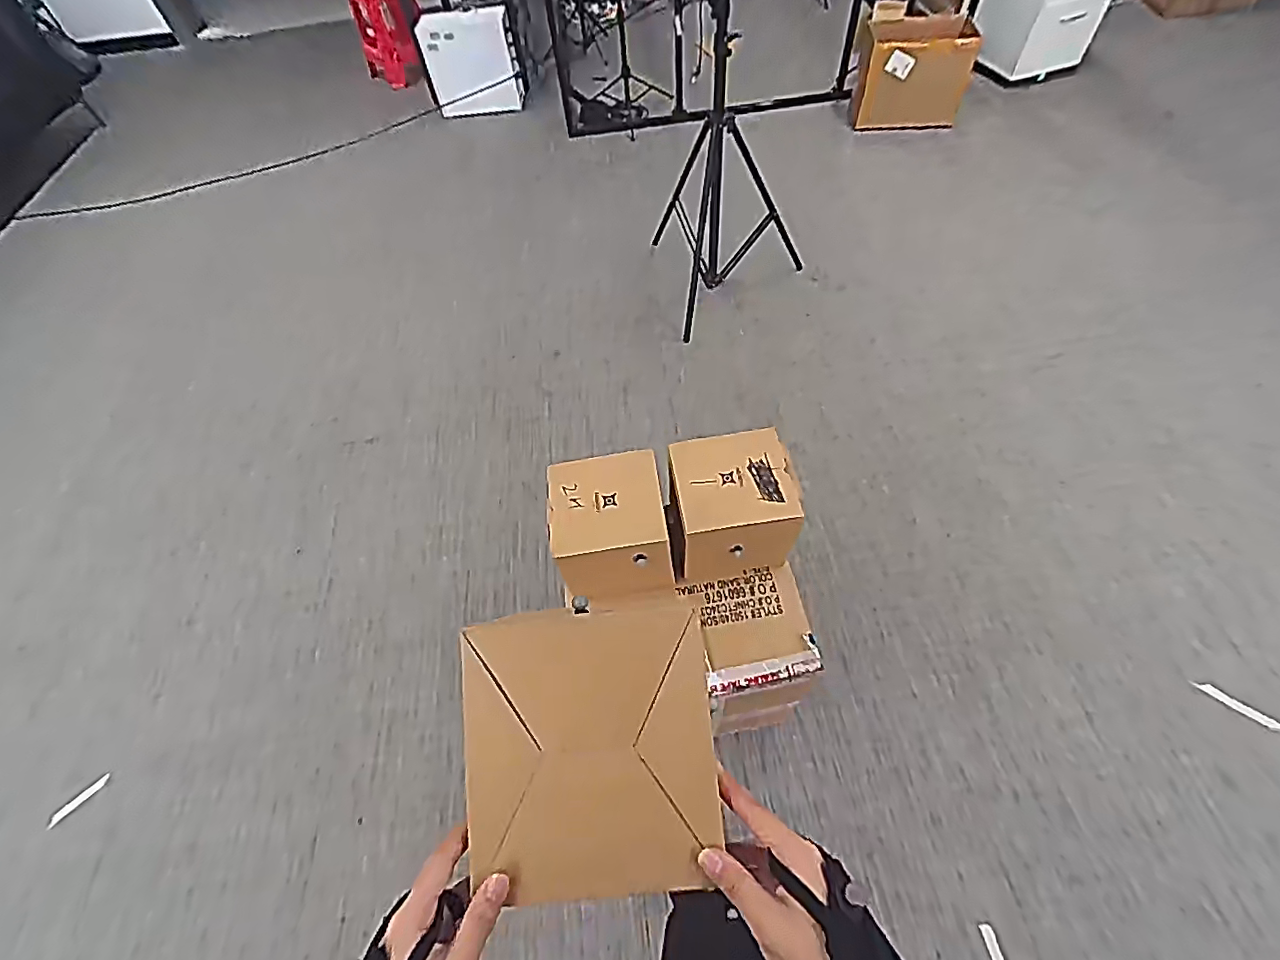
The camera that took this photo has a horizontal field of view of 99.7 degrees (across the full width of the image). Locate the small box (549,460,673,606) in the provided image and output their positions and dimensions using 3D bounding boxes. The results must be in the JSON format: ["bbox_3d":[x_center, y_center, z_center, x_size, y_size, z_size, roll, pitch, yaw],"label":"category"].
[{"bbox_3d":[-0.042,0.092,0.885,0.179,0.176,0.168,-10,56,2],"label":"small box"}]

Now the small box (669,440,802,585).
[{"bbox_3d":[0.145,0.058,0.890,0.179,0.176,0.168,-9,57,-1],"label":"small box"}]
